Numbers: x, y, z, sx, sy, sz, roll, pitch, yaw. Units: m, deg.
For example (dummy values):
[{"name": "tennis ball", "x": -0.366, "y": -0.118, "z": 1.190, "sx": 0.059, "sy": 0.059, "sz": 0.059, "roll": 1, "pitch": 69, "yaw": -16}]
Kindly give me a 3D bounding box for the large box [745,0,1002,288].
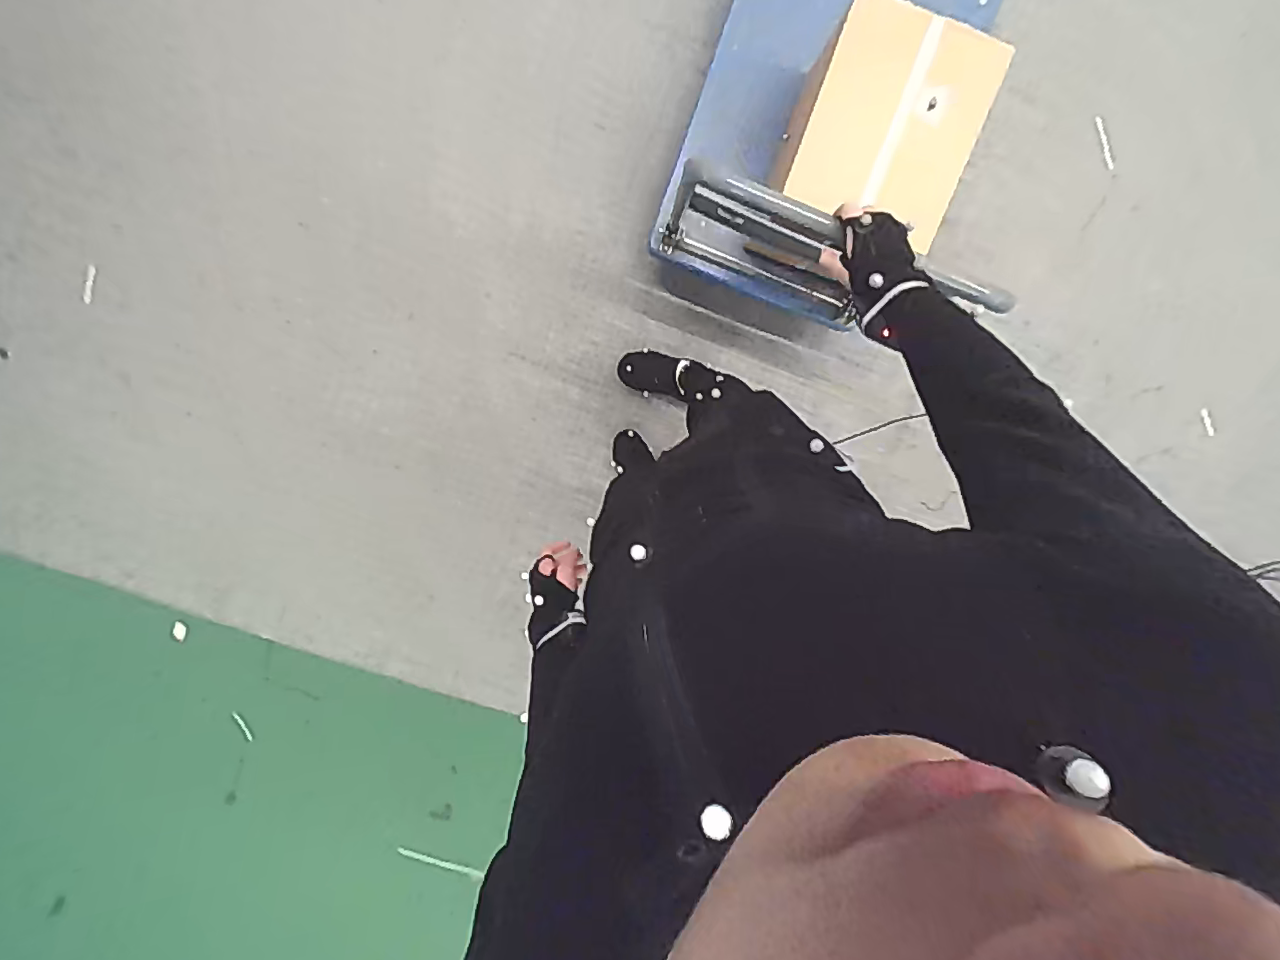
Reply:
[{"name": "large box", "x": 0.457, "y": -0.675, "z": 1.157, "sx": 0.320, "sy": 0.320, "sz": 0.408, "roll": 18, "pitch": 101, "yaw": -5}]
